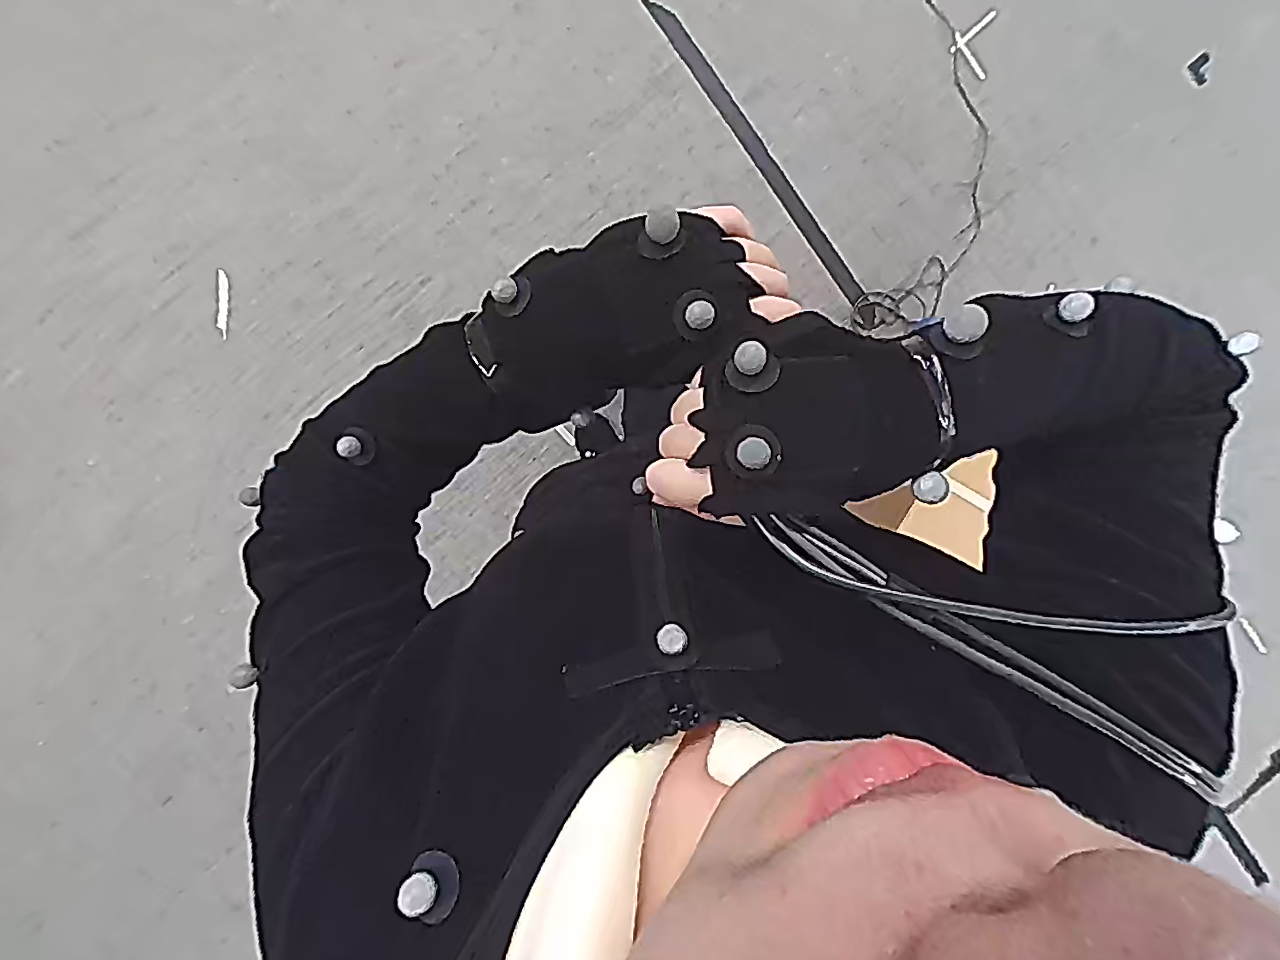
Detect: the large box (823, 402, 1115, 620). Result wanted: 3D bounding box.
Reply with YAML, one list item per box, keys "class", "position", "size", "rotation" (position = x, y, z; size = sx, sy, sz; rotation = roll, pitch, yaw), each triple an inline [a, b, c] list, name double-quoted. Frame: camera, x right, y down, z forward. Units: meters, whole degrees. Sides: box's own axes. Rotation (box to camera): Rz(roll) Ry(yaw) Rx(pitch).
- class: "large box"
  position: [0.710, 0.050, 1.229]
  size: [0.408, 0.320, 0.320]
  rotation: [29, 95, -8]
